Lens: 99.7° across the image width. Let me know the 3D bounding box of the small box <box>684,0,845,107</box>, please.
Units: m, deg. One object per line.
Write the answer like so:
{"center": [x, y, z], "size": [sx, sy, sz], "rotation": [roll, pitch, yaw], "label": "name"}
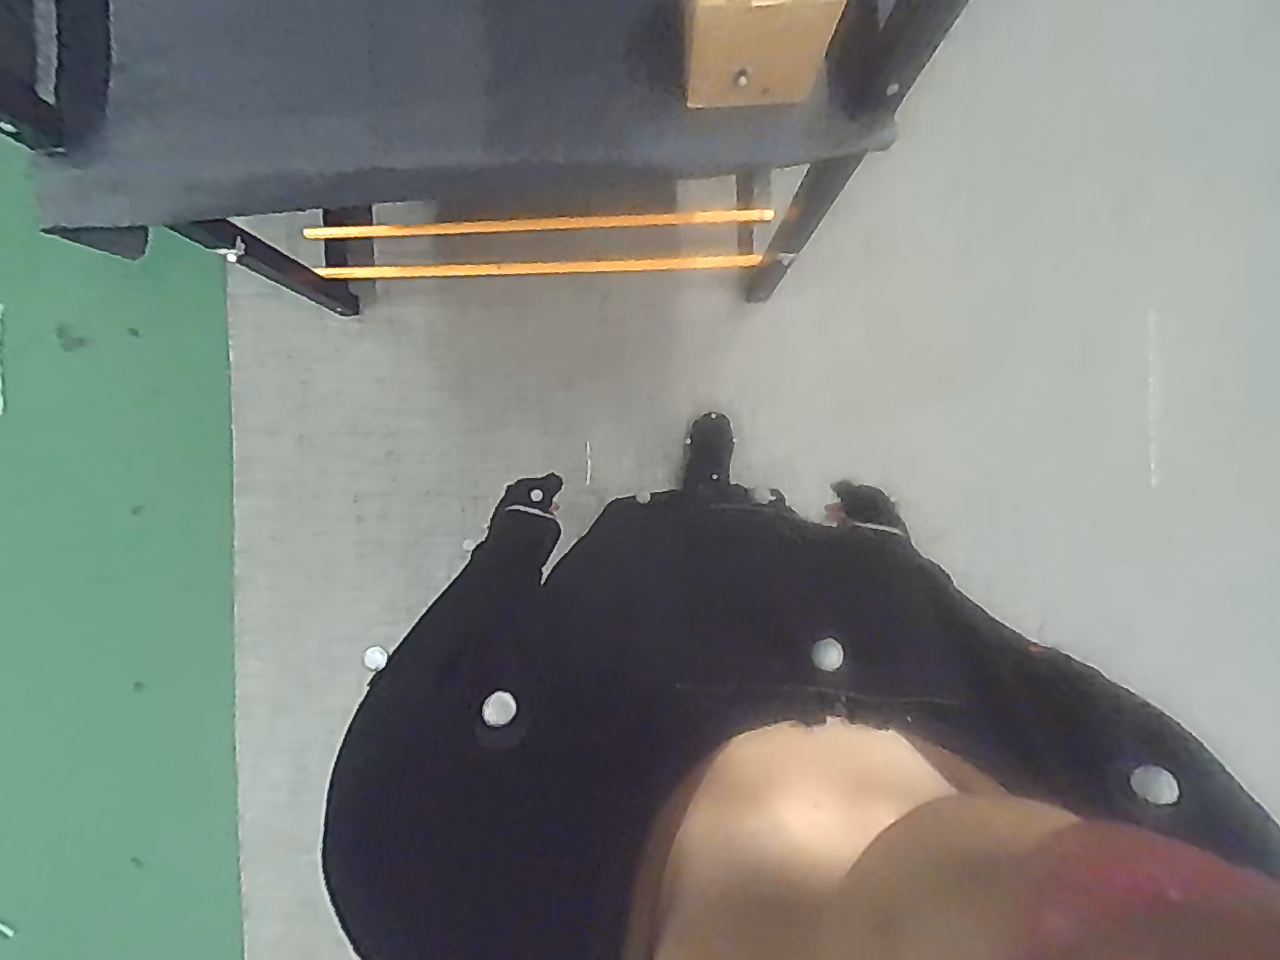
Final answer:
{"center": [0.141, -0.599, 0.659], "size": [0.168, 0.176, 0.179], "rotation": [-2, 90, 2], "label": "small box"}
